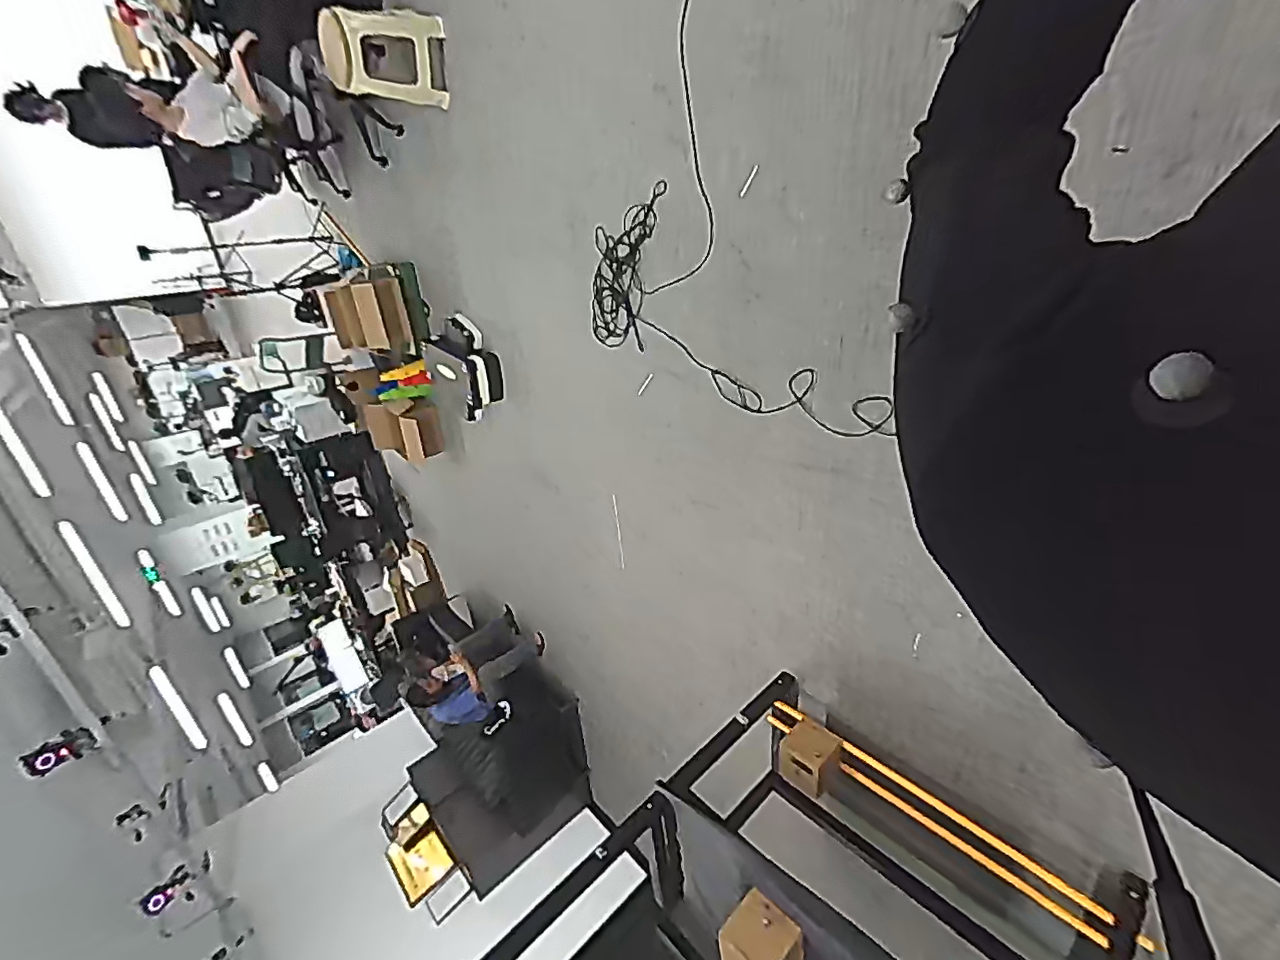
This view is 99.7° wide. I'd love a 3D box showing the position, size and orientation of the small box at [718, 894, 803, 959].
[{"bbox_3d":[0.340,1.324,1.507,0.168,0.176,0.179,17,123,45],"label":"small box"}]
